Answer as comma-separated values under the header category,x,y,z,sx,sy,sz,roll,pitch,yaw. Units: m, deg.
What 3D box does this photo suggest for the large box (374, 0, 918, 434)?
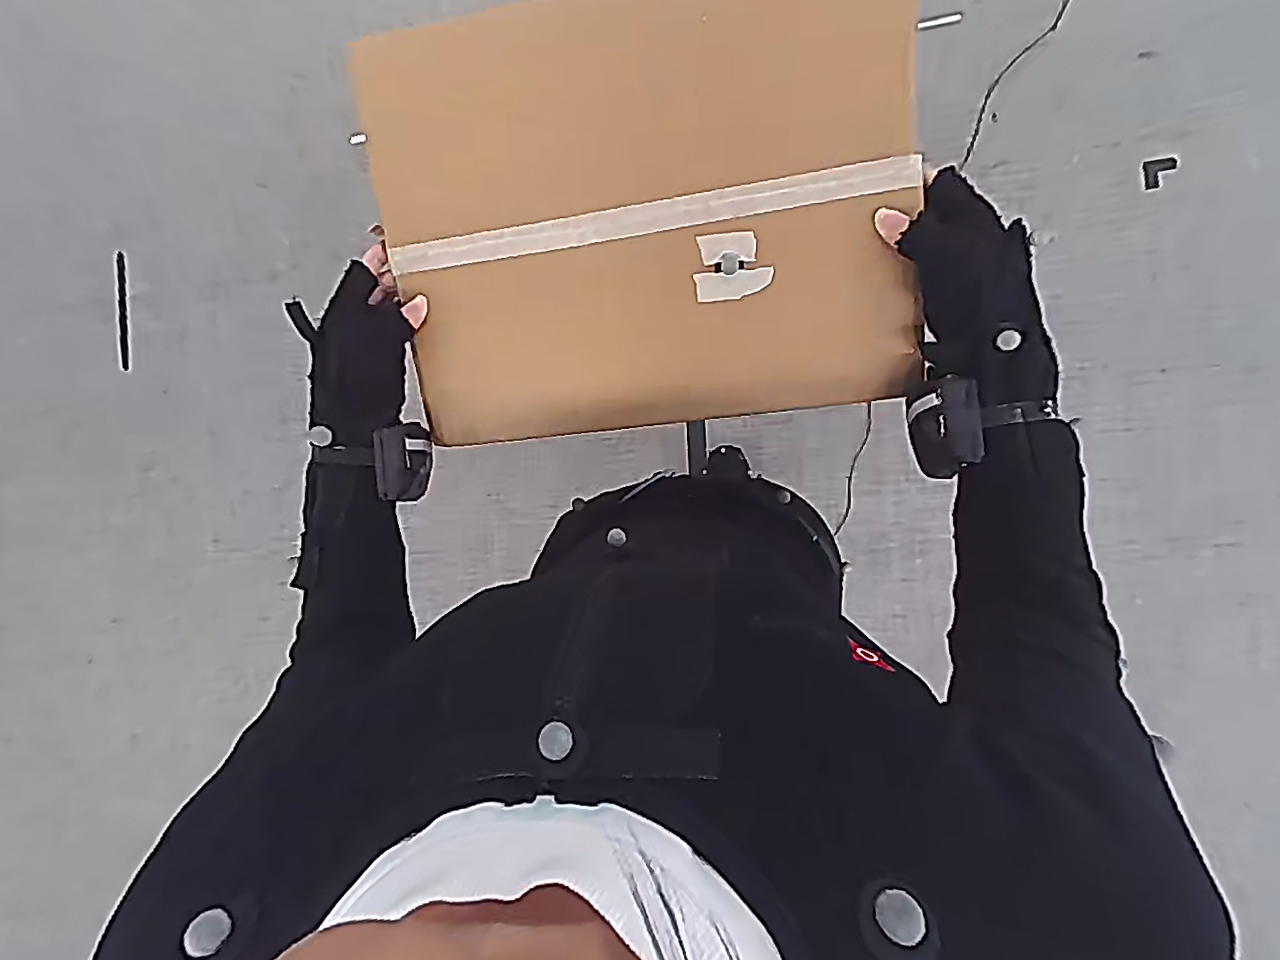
category,x,y,z,sx,sy,sz,roll,pitch,yaw
large box,0.021,-0.244,0.569,0.408,0.320,0.320,-6,103,9
